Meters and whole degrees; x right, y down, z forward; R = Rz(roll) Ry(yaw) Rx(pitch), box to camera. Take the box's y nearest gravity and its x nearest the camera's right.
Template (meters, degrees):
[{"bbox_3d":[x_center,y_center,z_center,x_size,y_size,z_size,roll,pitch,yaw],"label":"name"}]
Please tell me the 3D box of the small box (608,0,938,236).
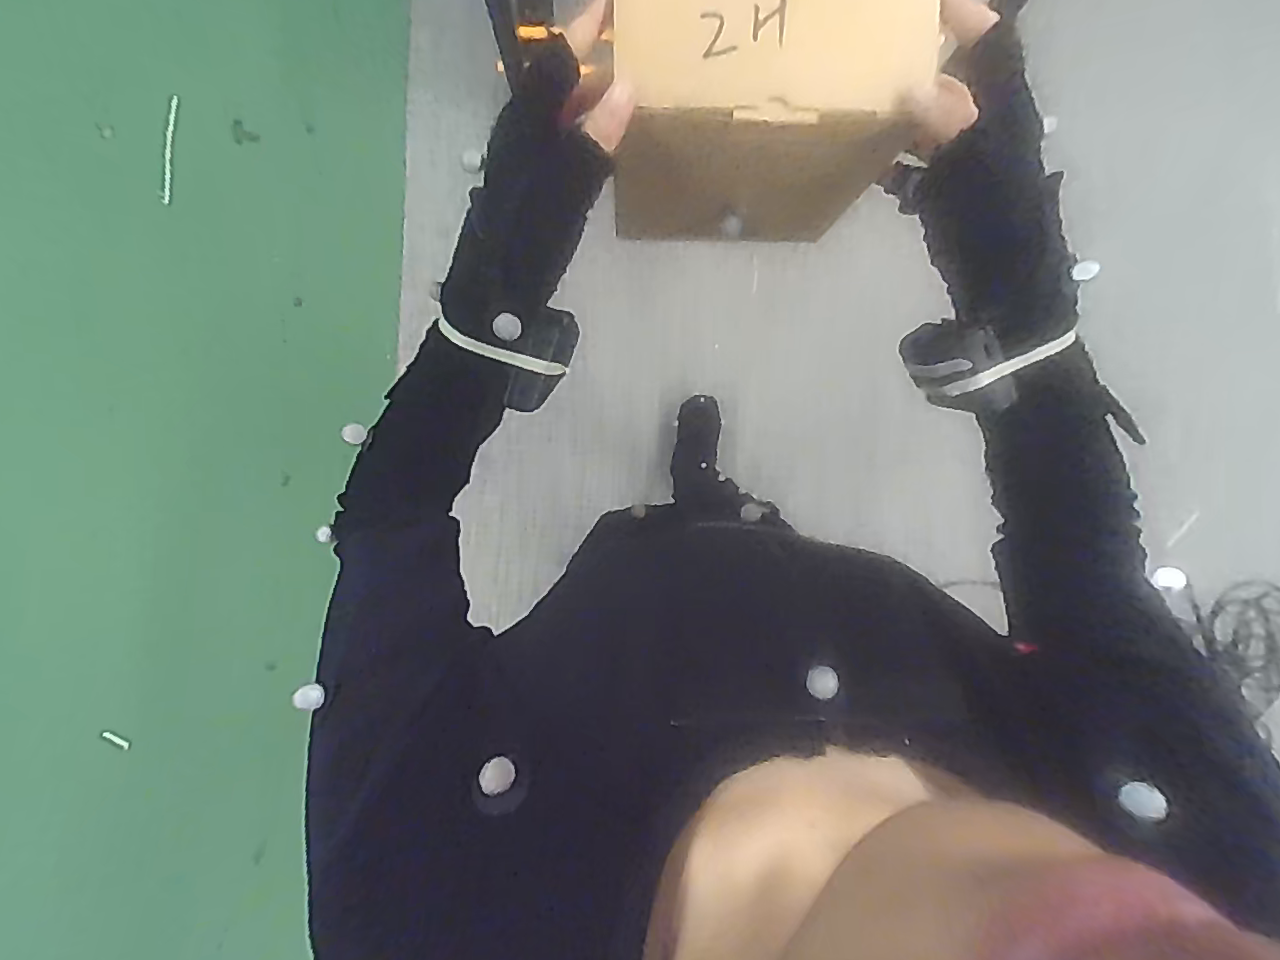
[{"bbox_3d":[0.064,-0.282,0.346,0.168,0.176,0.179,0,91,-1],"label":"small box"}]
